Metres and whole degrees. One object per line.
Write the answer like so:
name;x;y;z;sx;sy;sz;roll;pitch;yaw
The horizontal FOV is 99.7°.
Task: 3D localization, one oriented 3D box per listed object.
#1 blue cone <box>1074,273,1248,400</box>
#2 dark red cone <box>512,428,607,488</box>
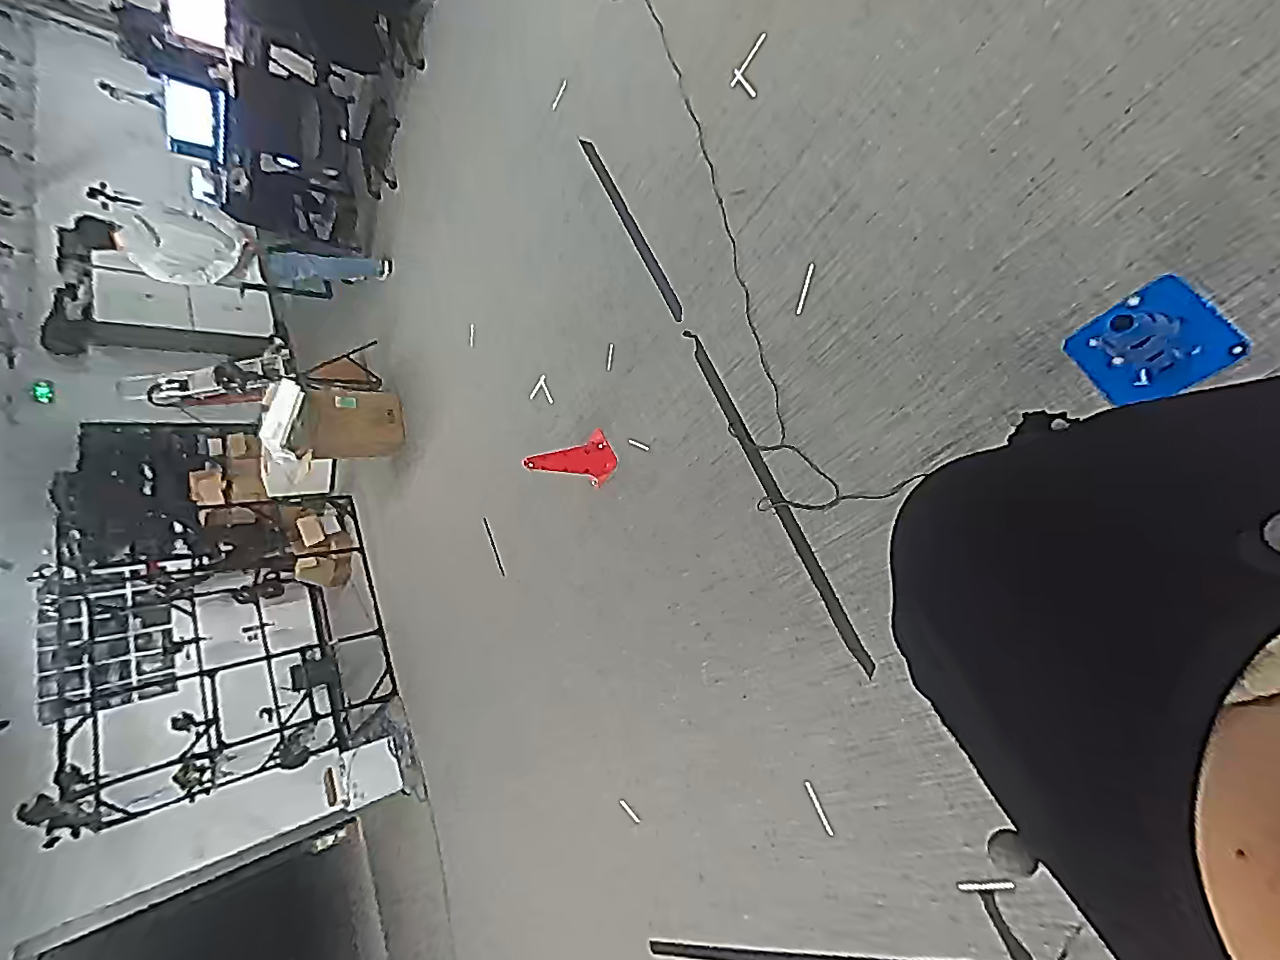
blue cone;0.836;-0.255;0.901;0.192;0.380;0.193;-42;63;41
dark red cone;-0.339;-0.084;2.201;0.201;0.394;0.202;-51;57;37
